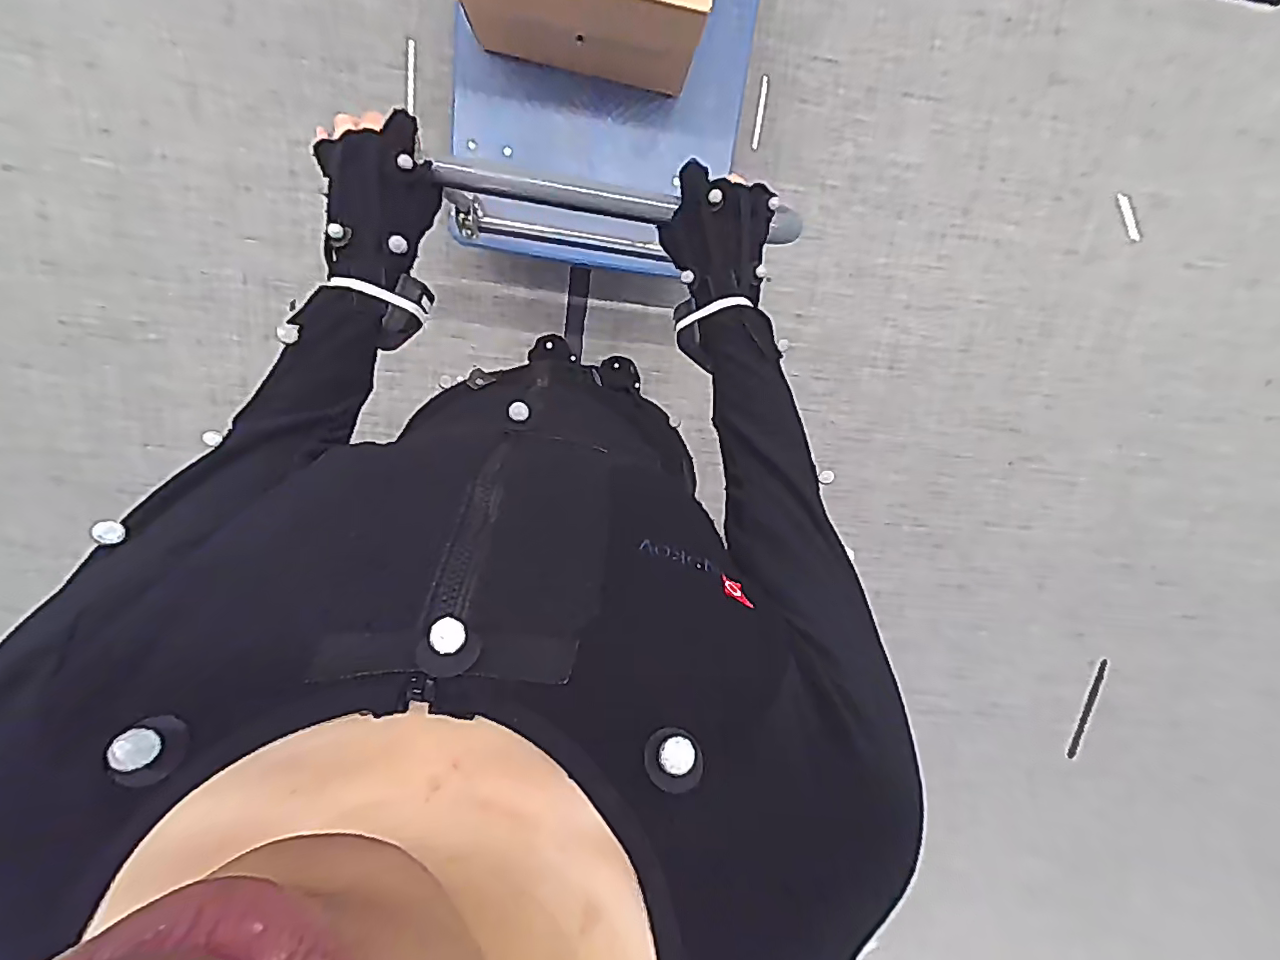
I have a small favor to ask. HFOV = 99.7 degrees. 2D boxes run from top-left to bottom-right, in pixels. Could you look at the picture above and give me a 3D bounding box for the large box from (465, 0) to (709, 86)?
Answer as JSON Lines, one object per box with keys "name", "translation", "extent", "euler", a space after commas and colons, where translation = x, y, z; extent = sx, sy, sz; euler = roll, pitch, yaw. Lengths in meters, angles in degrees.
{"name": "large box", "translation": [-0.076, -0.925, 0.903], "extent": [0.408, 0.320, 0.320], "euler": [9, 105, -6]}
